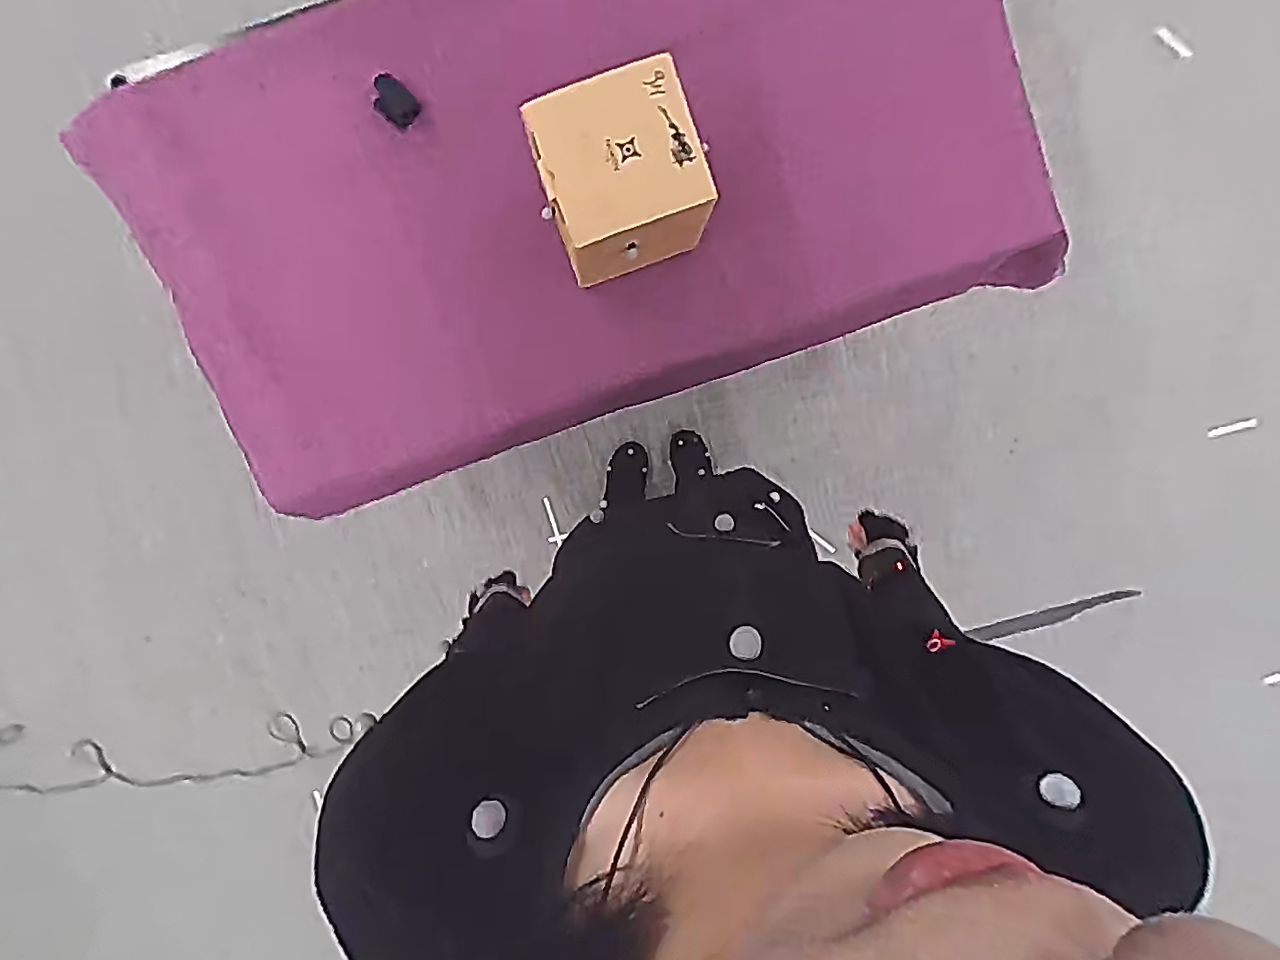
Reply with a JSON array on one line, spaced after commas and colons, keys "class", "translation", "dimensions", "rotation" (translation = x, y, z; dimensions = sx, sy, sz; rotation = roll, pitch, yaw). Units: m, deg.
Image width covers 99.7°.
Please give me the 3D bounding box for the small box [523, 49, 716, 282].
[{"class": "small box", "translation": [-0.023, -0.371, 0.674], "dimensions": [0.179, 0.176, 0.168], "rotation": [-20, 95, 0]}]
